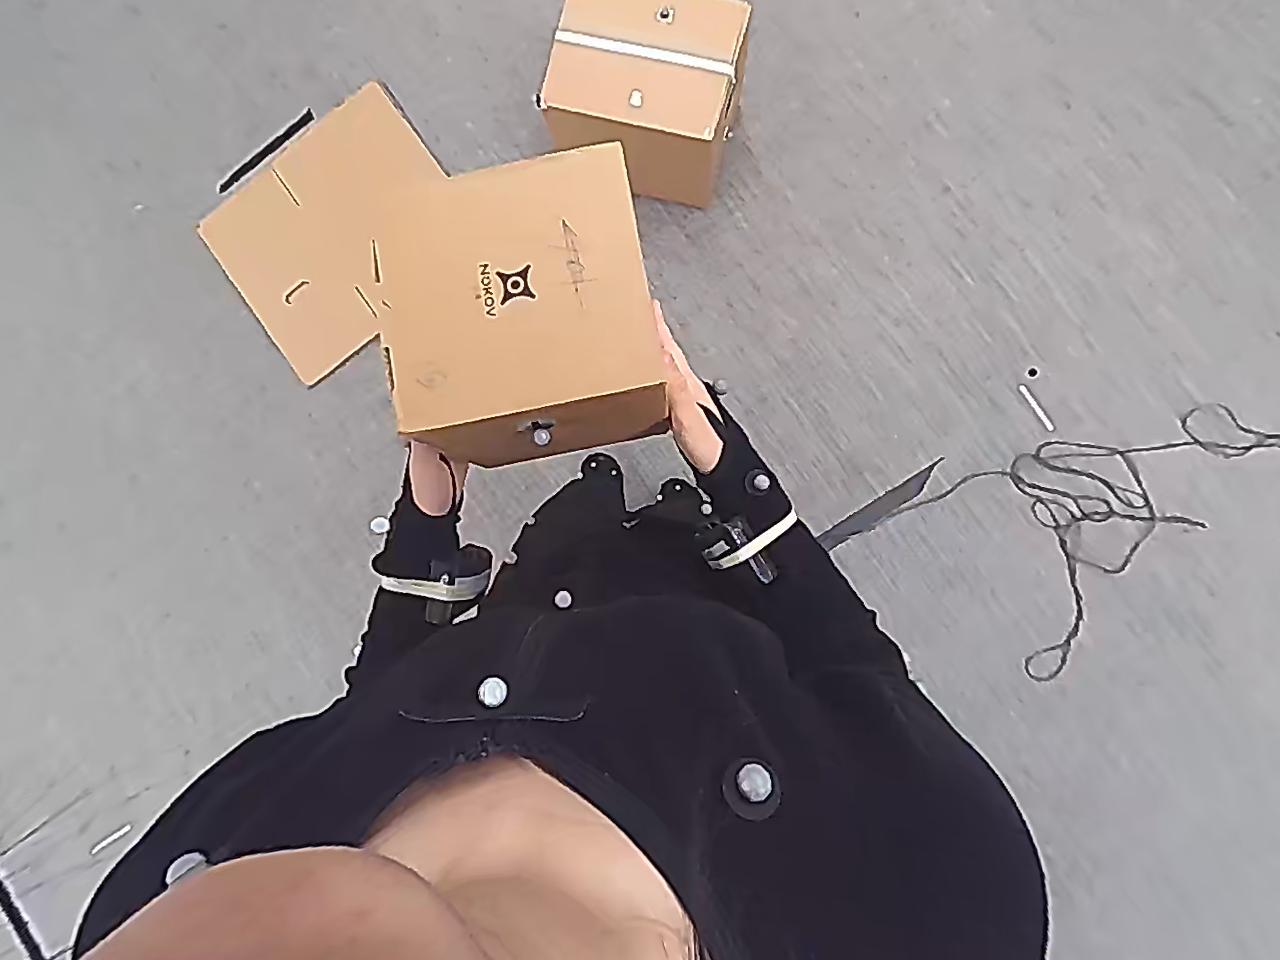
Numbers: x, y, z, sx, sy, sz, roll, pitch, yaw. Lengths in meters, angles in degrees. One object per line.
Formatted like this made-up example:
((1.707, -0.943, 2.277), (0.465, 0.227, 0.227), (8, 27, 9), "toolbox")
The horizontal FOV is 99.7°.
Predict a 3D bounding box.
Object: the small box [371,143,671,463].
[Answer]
((-0.075, -0.115, 0.425), (0.179, 0.176, 0.168), (-11, 84, 2), "small box")
